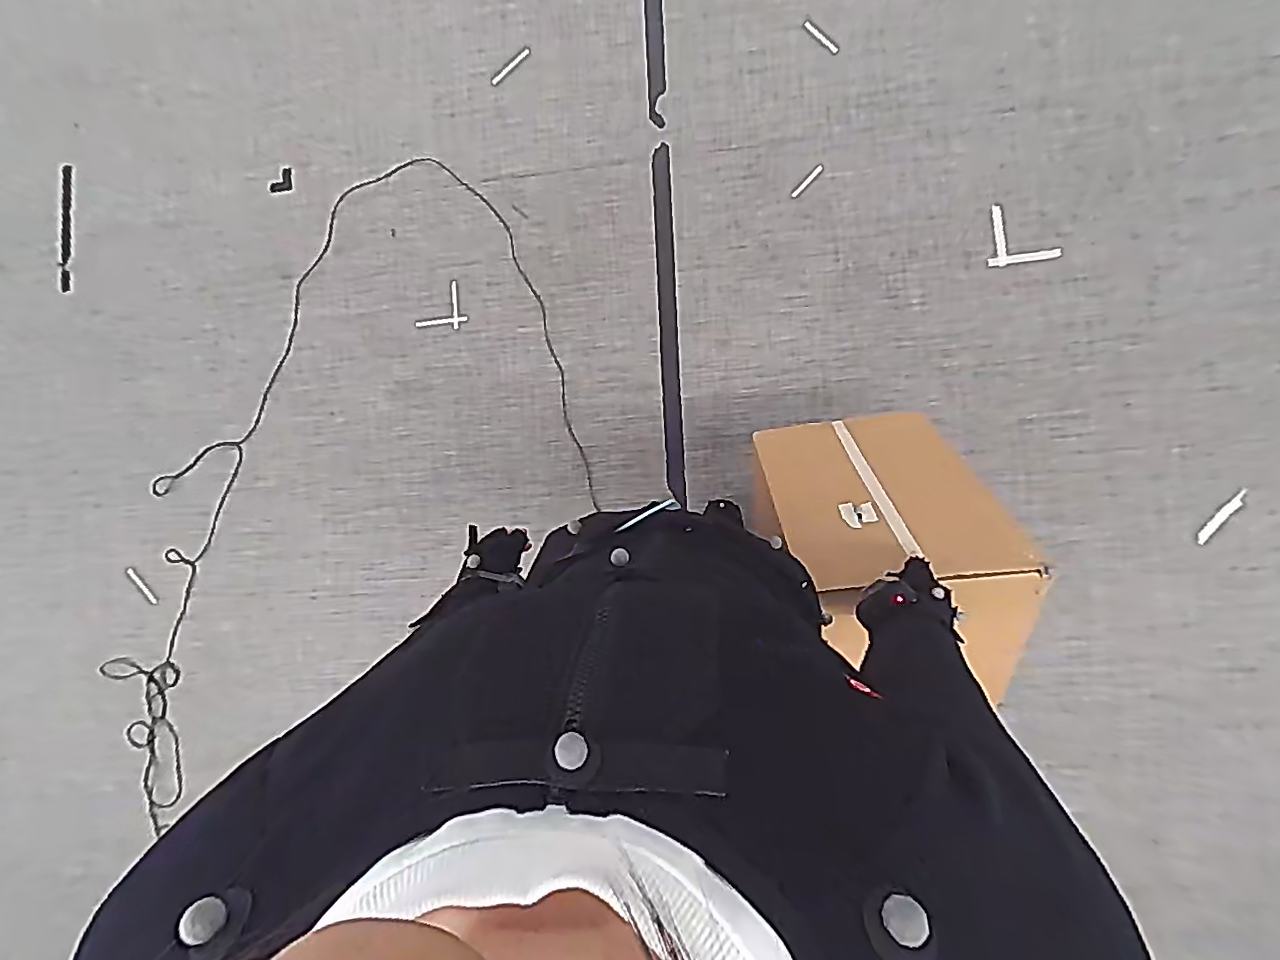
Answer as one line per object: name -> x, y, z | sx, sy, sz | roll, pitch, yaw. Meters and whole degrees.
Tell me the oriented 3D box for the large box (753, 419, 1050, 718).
large box -> 0.386, 0.139, 0.941 | 0.320, 0.408, 0.320 | -7, 127, 5
